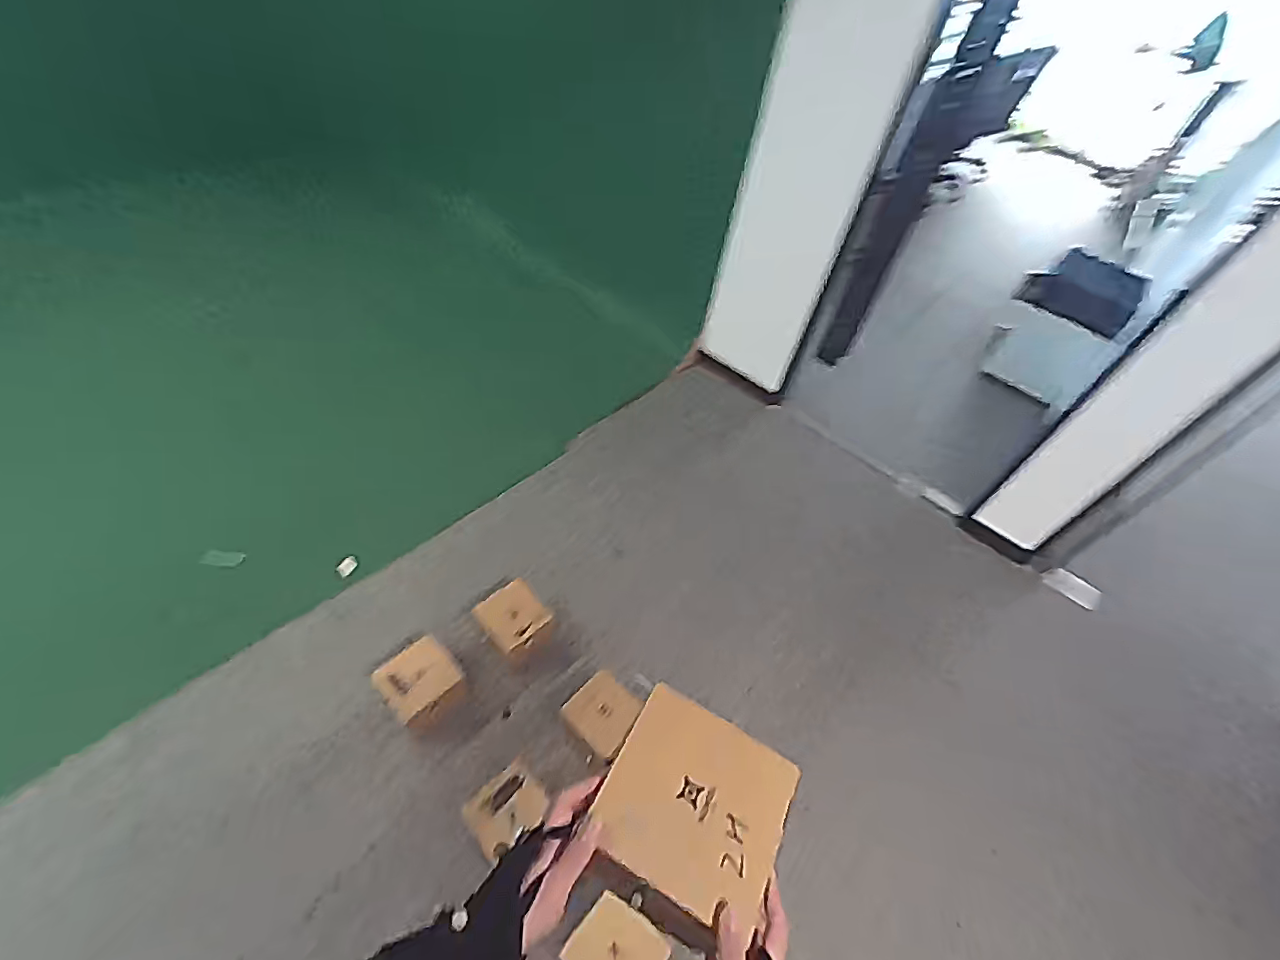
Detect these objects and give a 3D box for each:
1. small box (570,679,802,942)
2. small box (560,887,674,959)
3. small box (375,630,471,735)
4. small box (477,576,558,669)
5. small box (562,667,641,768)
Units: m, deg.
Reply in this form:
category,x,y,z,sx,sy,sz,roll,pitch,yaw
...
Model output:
category,x,y,z,sx,sy,sz,roll,pitch,yaw
small box,0.041,0.355,0.578,0.179,0.176,0.168,28,49,10
small box,-0.058,1.013,1.162,0.179,0.176,0.168,39,53,20
small box,-0.578,0.551,1.461,0.168,0.176,0.179,40,53,22
small box,-0.363,0.427,1.611,0.168,0.176,0.179,-32,61,-32
small box,-0.095,0.651,1.467,0.179,0.176,0.168,39,53,22
